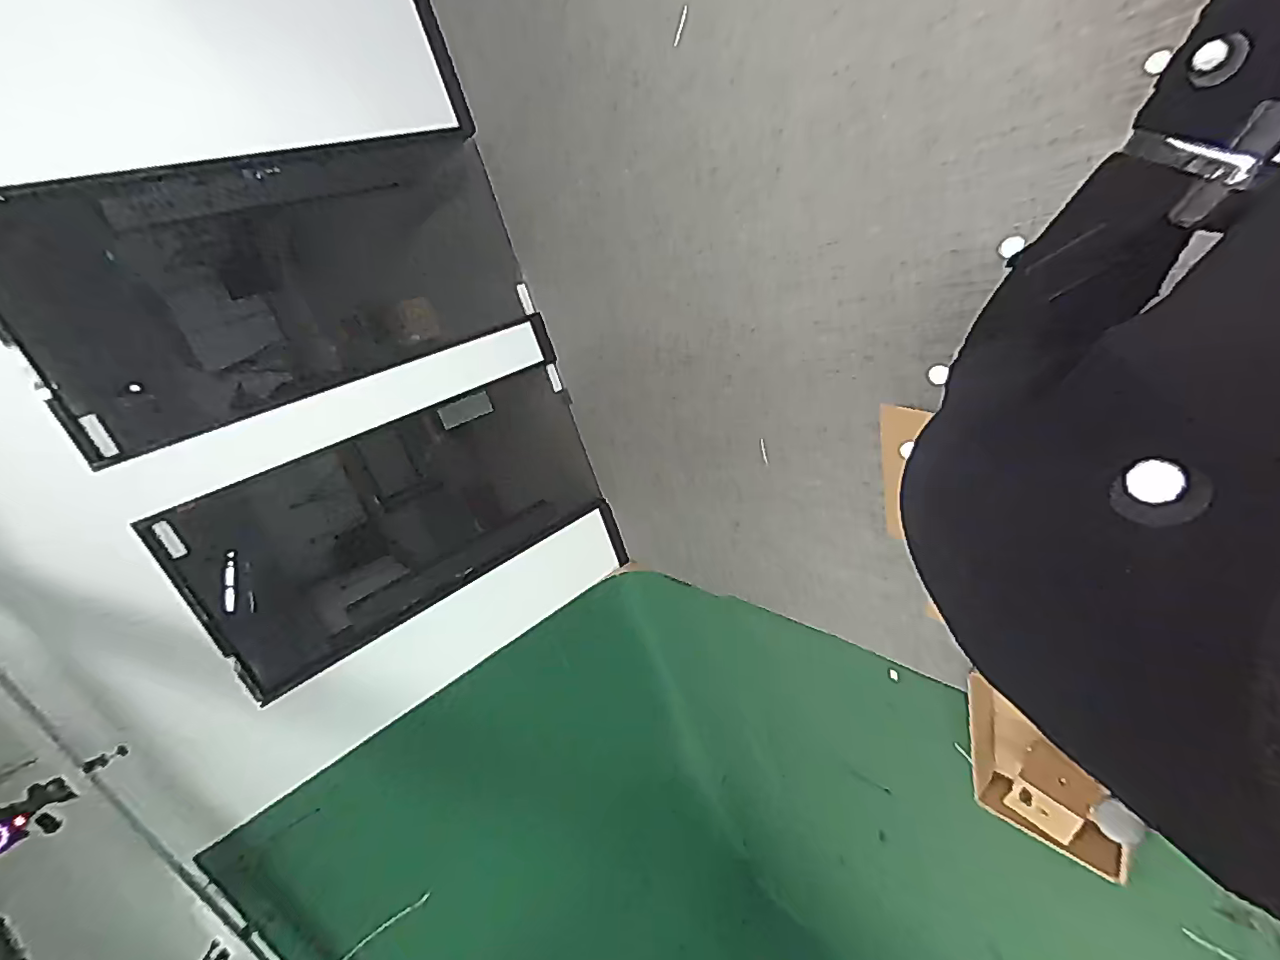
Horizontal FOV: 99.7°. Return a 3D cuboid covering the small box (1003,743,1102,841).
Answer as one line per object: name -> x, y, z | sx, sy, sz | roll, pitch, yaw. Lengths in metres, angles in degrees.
small box -> 1.272, 0.952, 1.671 | 0.179, 0.176, 0.168 | 30, 139, 42
